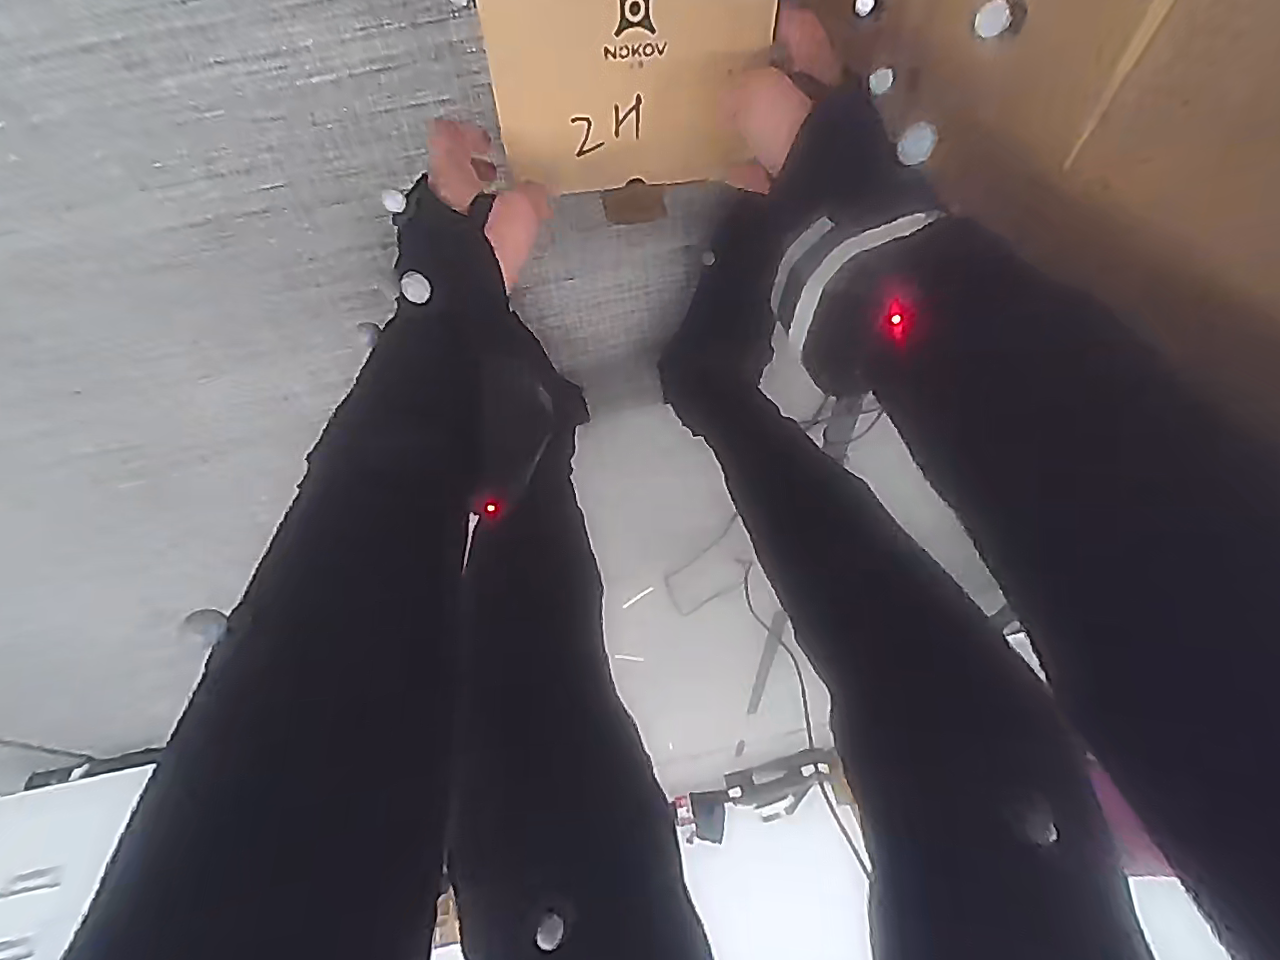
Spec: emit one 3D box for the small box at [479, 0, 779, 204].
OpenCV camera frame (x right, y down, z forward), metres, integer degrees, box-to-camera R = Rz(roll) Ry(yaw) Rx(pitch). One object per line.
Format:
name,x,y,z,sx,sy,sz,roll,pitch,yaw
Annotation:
small box,-0.019,-0.309,0.346,0.168,0.176,0.179,-9,144,-6
